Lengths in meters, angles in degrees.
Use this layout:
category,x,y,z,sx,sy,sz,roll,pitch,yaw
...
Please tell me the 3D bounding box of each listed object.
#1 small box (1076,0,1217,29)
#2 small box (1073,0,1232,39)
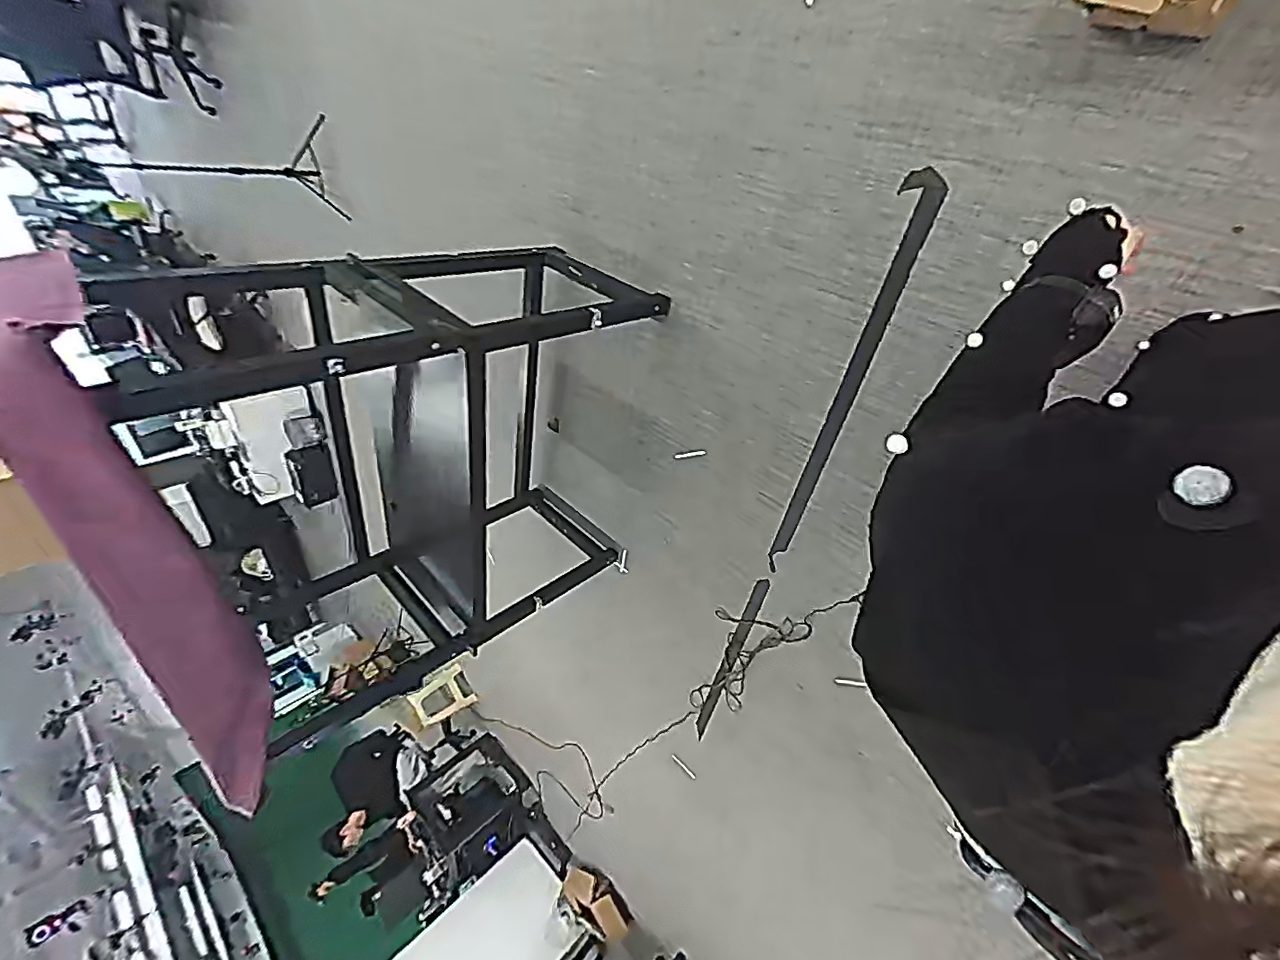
category,x,y,z,sx,sy,sz,roll,pitch,yaw
small box,0.661,-0.687,0.659,0.168,0.176,0.179,40,133,24
small box,0.770,-0.750,0.766,0.179,0.176,0.168,36,132,27
